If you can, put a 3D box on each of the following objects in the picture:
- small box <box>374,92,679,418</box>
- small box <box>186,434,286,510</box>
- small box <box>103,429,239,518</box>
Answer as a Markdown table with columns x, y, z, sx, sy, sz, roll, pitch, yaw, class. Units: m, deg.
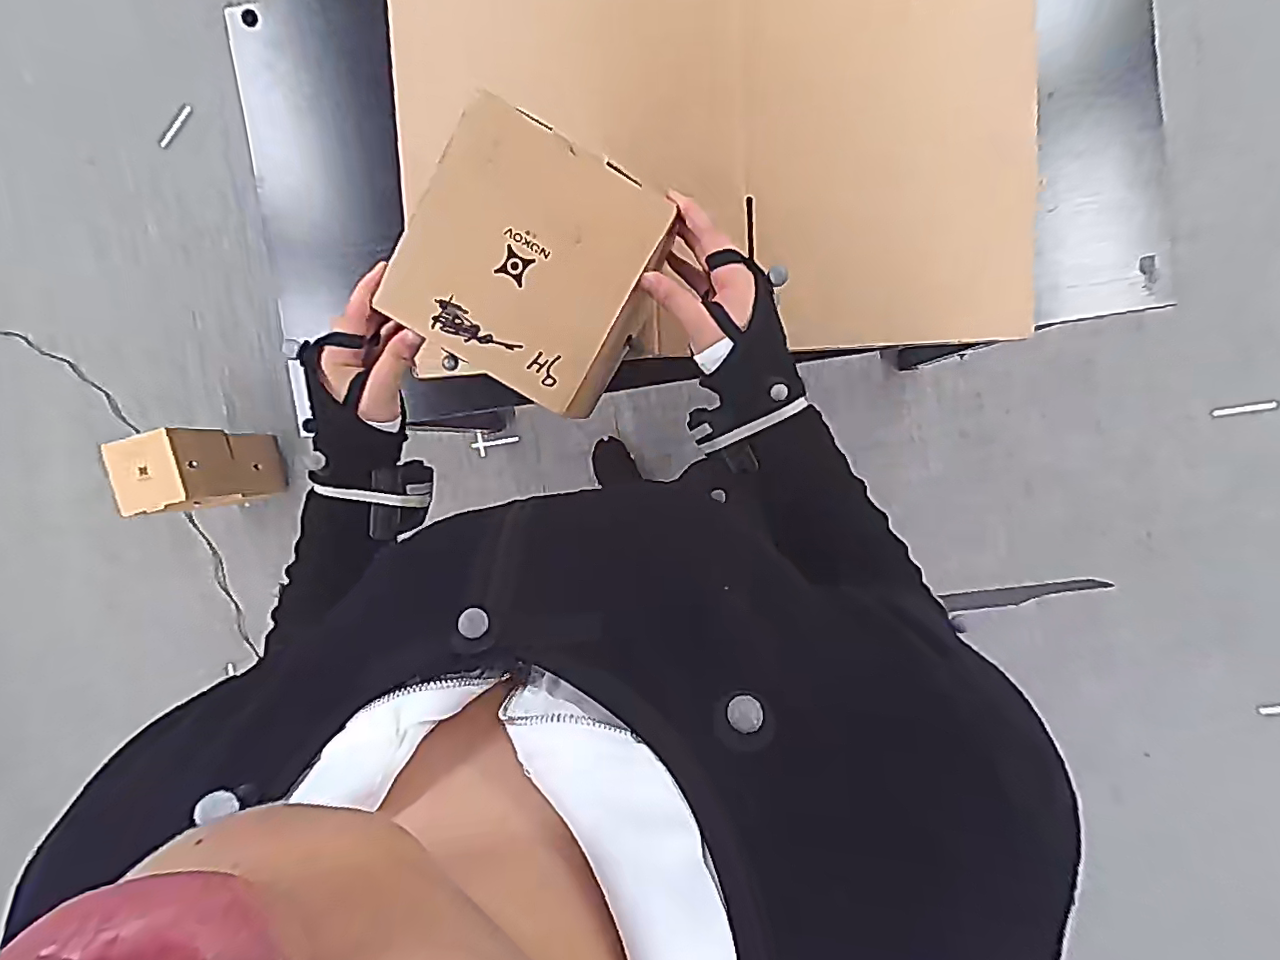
| x | y | z | sx | sy | sz | roll | pitch | yaw | class |
| --- | --- | --- | --- | --- | --- | --- | --- | --- | --- |
| -0.083 | -0.170 | 0.473 | 0.168 | 0.176 | 0.179 | 31 | 94 | 0 | small box |
| -1.118 | -0.024 | 1.480 | 0.168 | 0.176 | 0.179 | -12 | 93 | 4 | small box |
| -1.130 | -0.020 | 1.318 | 0.168 | 0.176 | 0.179 | -15 | 91 | 3 | small box |
